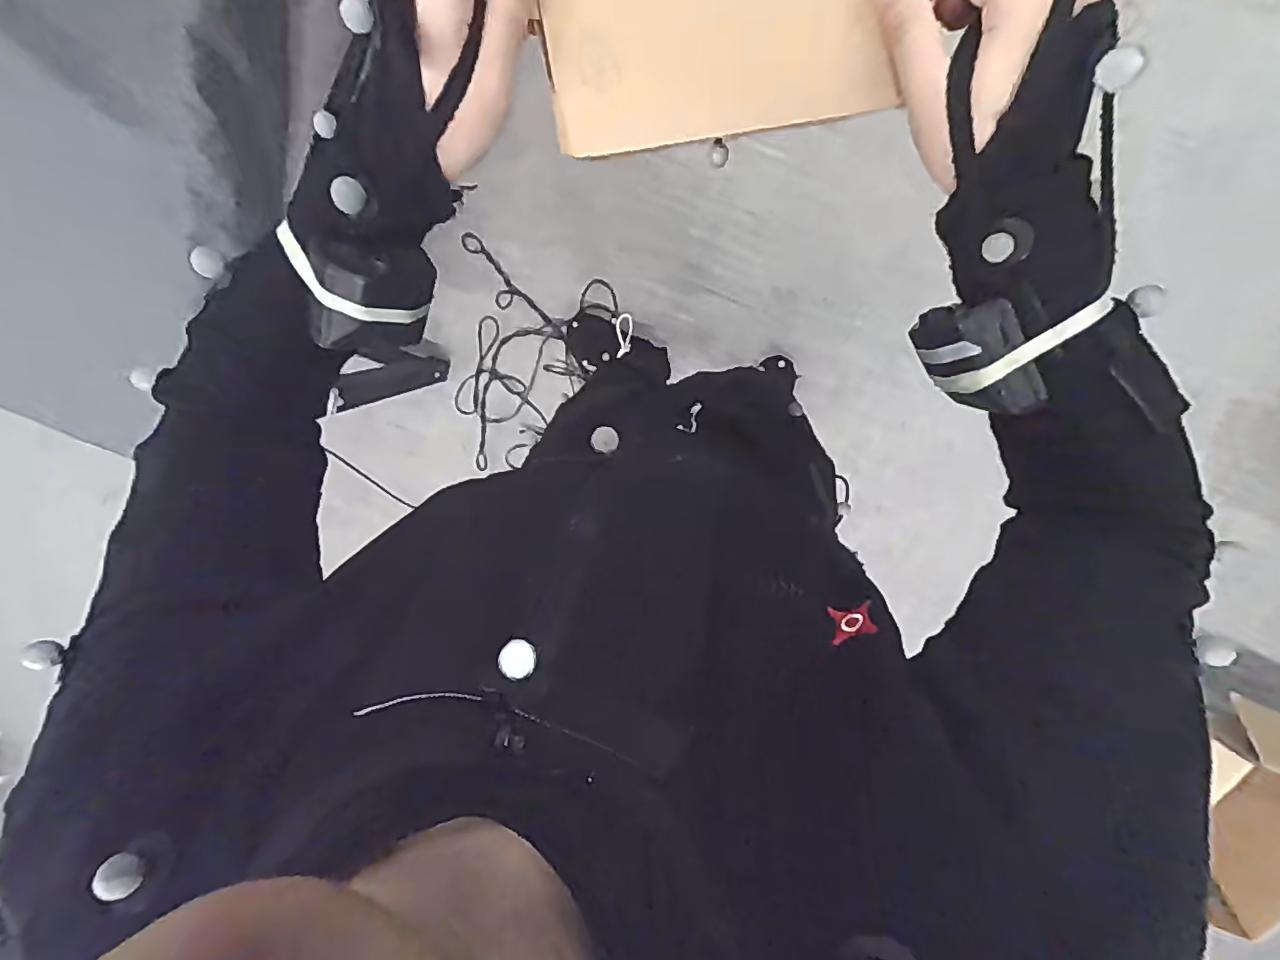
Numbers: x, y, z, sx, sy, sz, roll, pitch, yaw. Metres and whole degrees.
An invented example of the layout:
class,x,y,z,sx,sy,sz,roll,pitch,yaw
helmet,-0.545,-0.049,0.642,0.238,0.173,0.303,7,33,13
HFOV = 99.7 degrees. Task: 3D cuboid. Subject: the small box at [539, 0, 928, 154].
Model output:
class,x,y,z,sx,sy,sz,roll,pitch,yaw
small box,0.045,-0.284,0.297,0.179,0.176,0.168,-4,122,9
